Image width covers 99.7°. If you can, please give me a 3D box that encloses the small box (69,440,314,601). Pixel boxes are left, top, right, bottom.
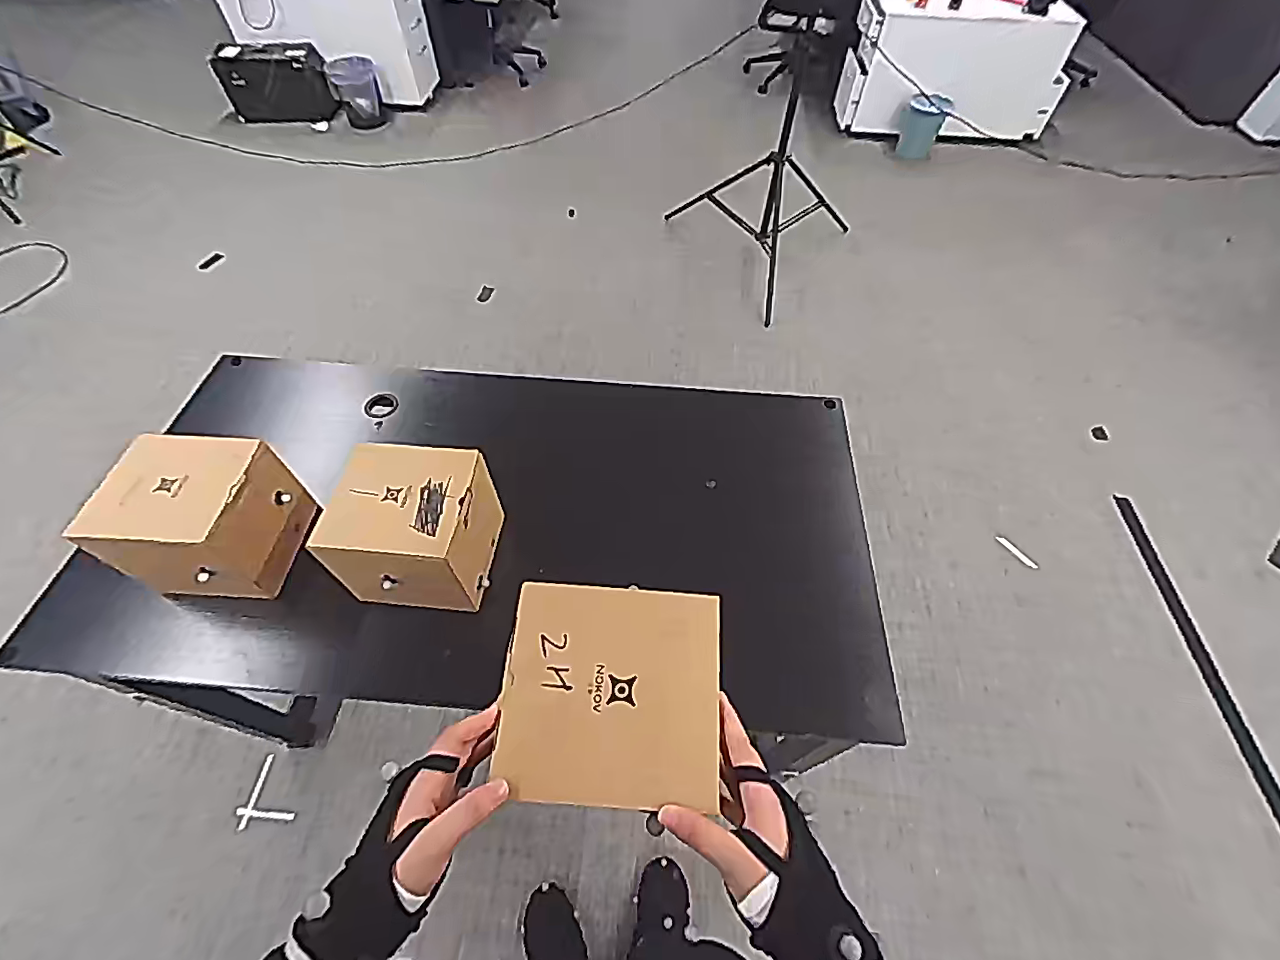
[{"bbox_3d":[-0.605,0.062,0.764,0.179,0.176,0.168,2,54,1],"label":"small box"}]

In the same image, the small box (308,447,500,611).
[{"bbox_3d":[-0.310,0.074,0.760,0.179,0.176,0.168,4,54,3],"label":"small box"}]

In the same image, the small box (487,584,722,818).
[{"bbox_3d":[-0.023,0.207,0.507,0.179,0.176,0.168,4,61,1],"label":"small box"}]
